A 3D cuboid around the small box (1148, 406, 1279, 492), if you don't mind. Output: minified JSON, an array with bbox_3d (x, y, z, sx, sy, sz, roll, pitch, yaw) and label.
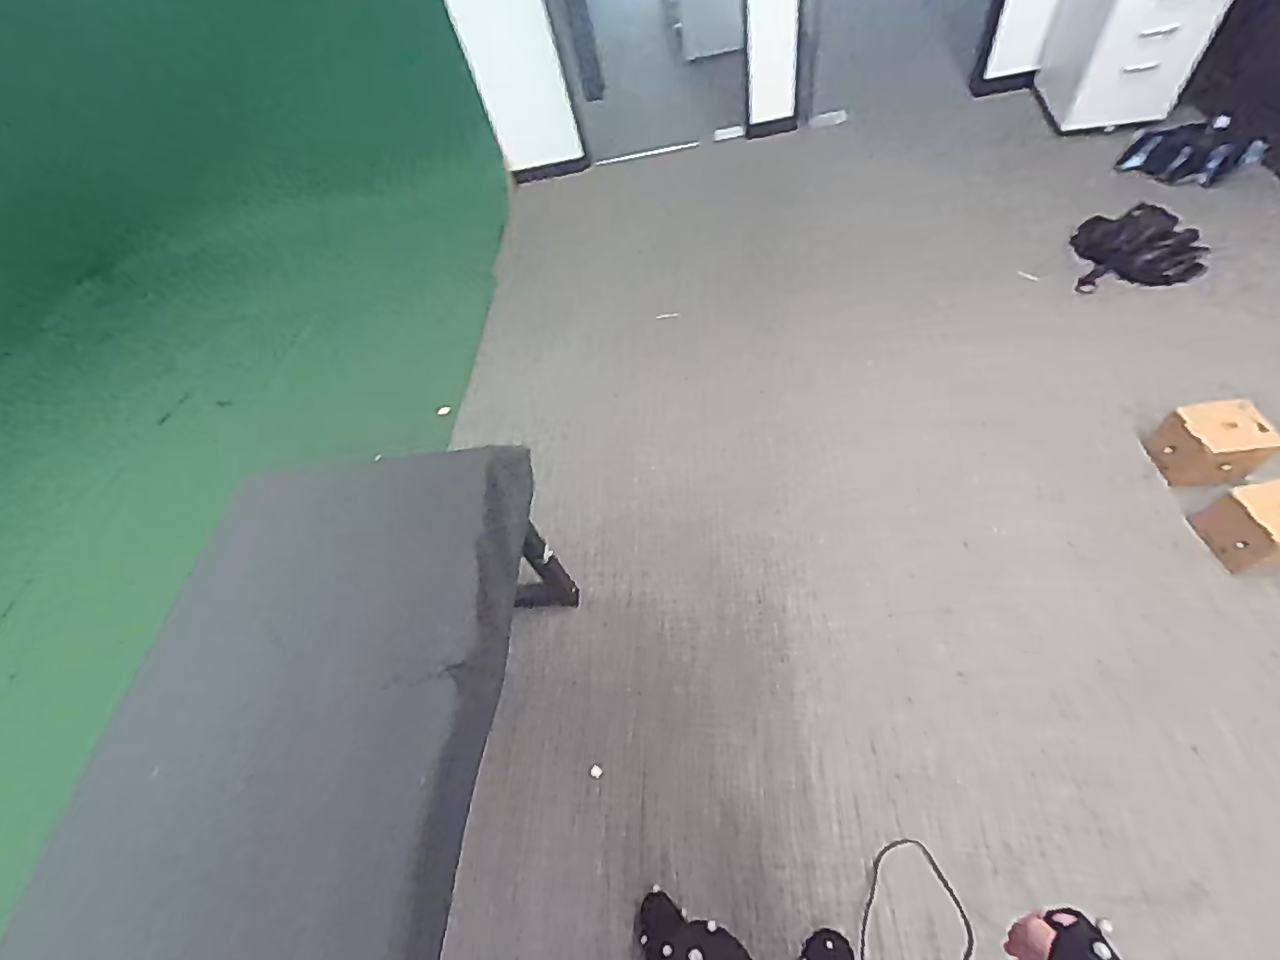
[{"bbox_3d":[1.573,-0.080,1.498,0.179,0.176,0.168,-7,53,9],"label":"small box"}]

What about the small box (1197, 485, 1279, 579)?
[{"bbox_3d":[1.567,0.130,1.350,0.179,0.176,0.168,-12,54,2],"label":"small box"}]
